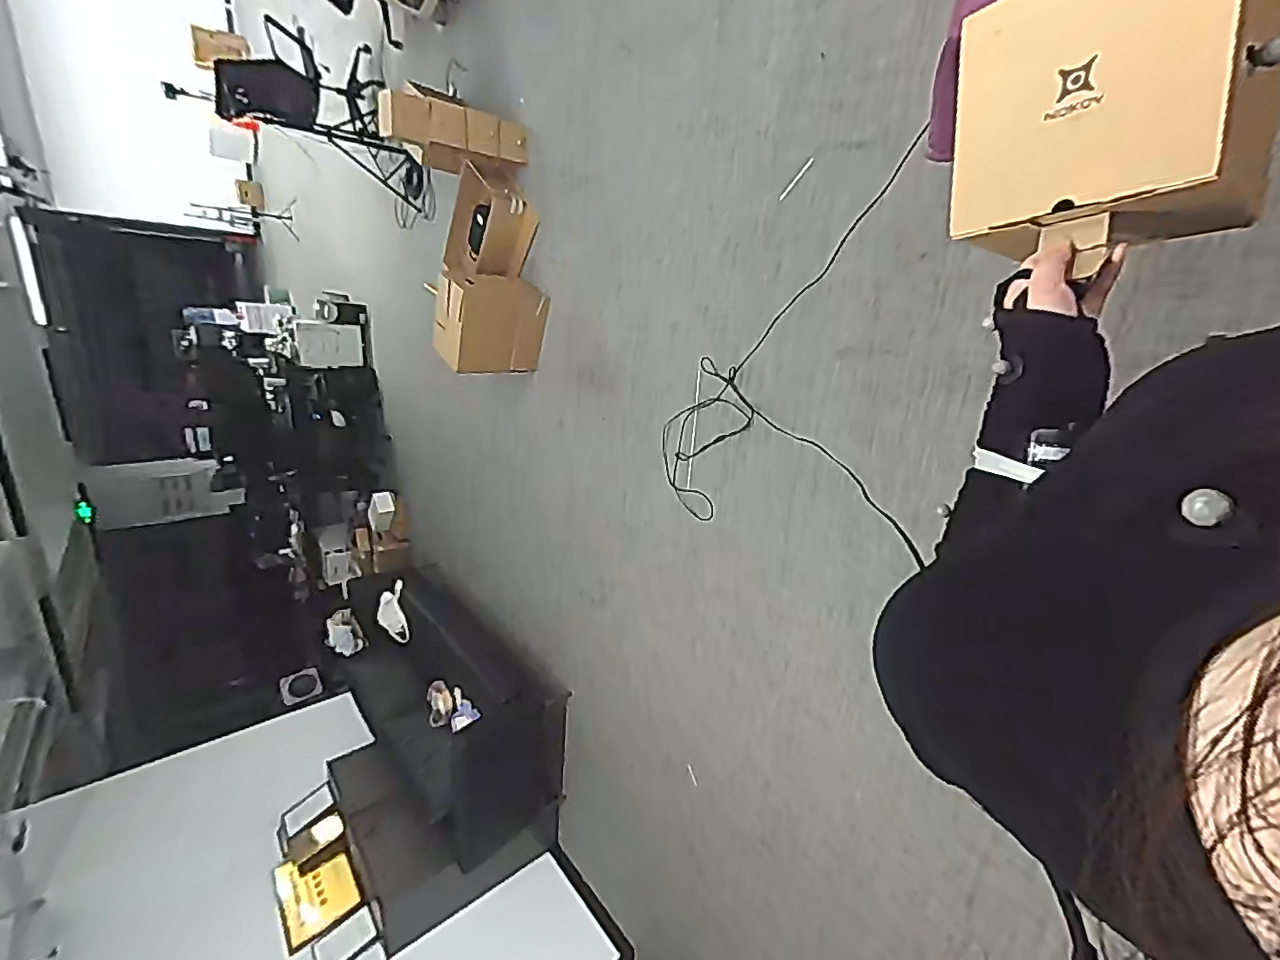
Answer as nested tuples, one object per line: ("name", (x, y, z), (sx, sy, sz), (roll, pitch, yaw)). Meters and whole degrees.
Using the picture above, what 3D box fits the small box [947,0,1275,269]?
("small box", (0.384, -0.289, 0.447), (0.168, 0.176, 0.179), (11, 105, 52))
